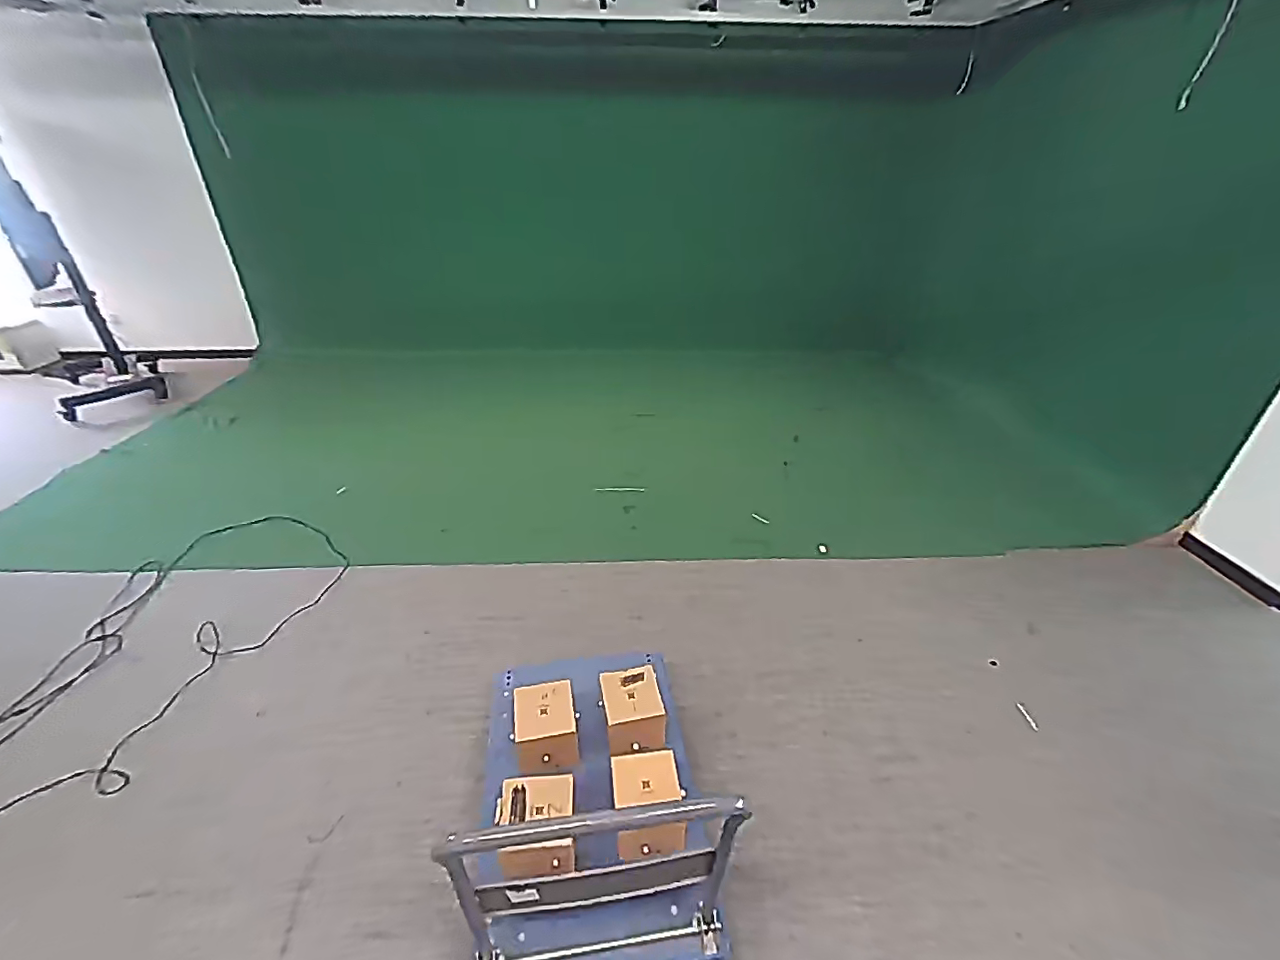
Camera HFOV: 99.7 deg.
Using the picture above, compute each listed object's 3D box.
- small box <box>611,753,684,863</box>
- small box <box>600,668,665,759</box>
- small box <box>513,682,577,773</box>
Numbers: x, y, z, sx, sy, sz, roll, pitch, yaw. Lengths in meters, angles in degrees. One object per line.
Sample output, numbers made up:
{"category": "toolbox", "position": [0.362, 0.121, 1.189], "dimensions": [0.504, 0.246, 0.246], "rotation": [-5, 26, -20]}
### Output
{"category": "small box", "position": [0.012, 0.836, 1.383], "dimensions": [0.168, 0.176, 0.179], "rotation": [-3, 32, -7]}
{"category": "small box", "position": [-0.028, 0.693, 1.609], "dimensions": [0.168, 0.176, 0.179], "rotation": [-6, 33, -10]}
{"category": "small box", "position": [-0.274, 0.719, 1.561], "dimensions": [0.168, 0.176, 0.179], "rotation": [-5, 32, -11]}
